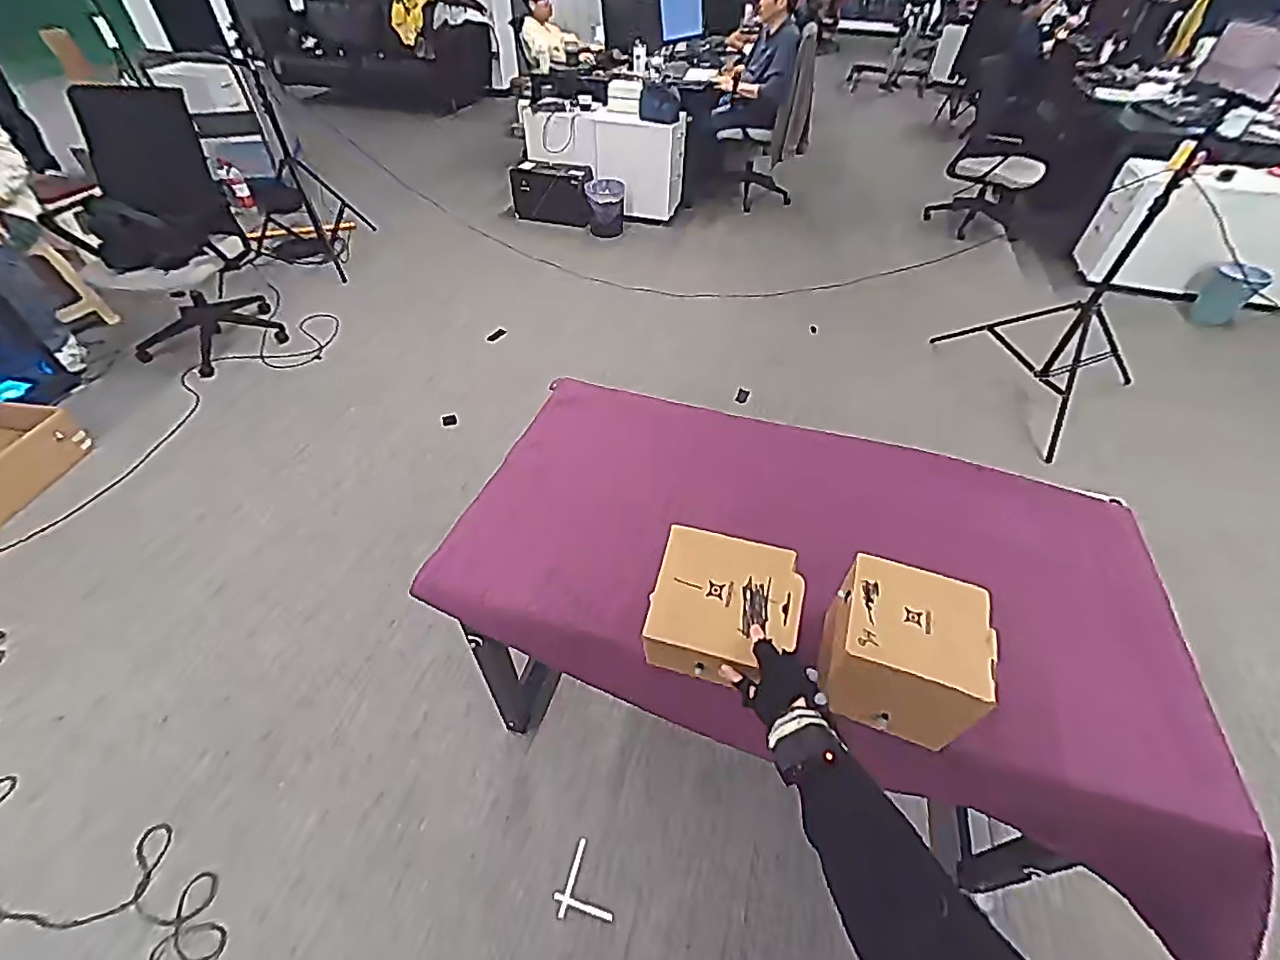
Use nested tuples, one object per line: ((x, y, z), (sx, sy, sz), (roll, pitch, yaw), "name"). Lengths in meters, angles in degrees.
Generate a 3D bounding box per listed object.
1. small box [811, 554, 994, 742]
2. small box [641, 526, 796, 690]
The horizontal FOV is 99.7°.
((0.359, 0.239, 0.758), (0.179, 0.176, 0.168), (17, 47, 14), "small box")
((0.112, 0.190, 0.778), (0.179, 0.176, 0.168), (12, 60, 12), "small box")
